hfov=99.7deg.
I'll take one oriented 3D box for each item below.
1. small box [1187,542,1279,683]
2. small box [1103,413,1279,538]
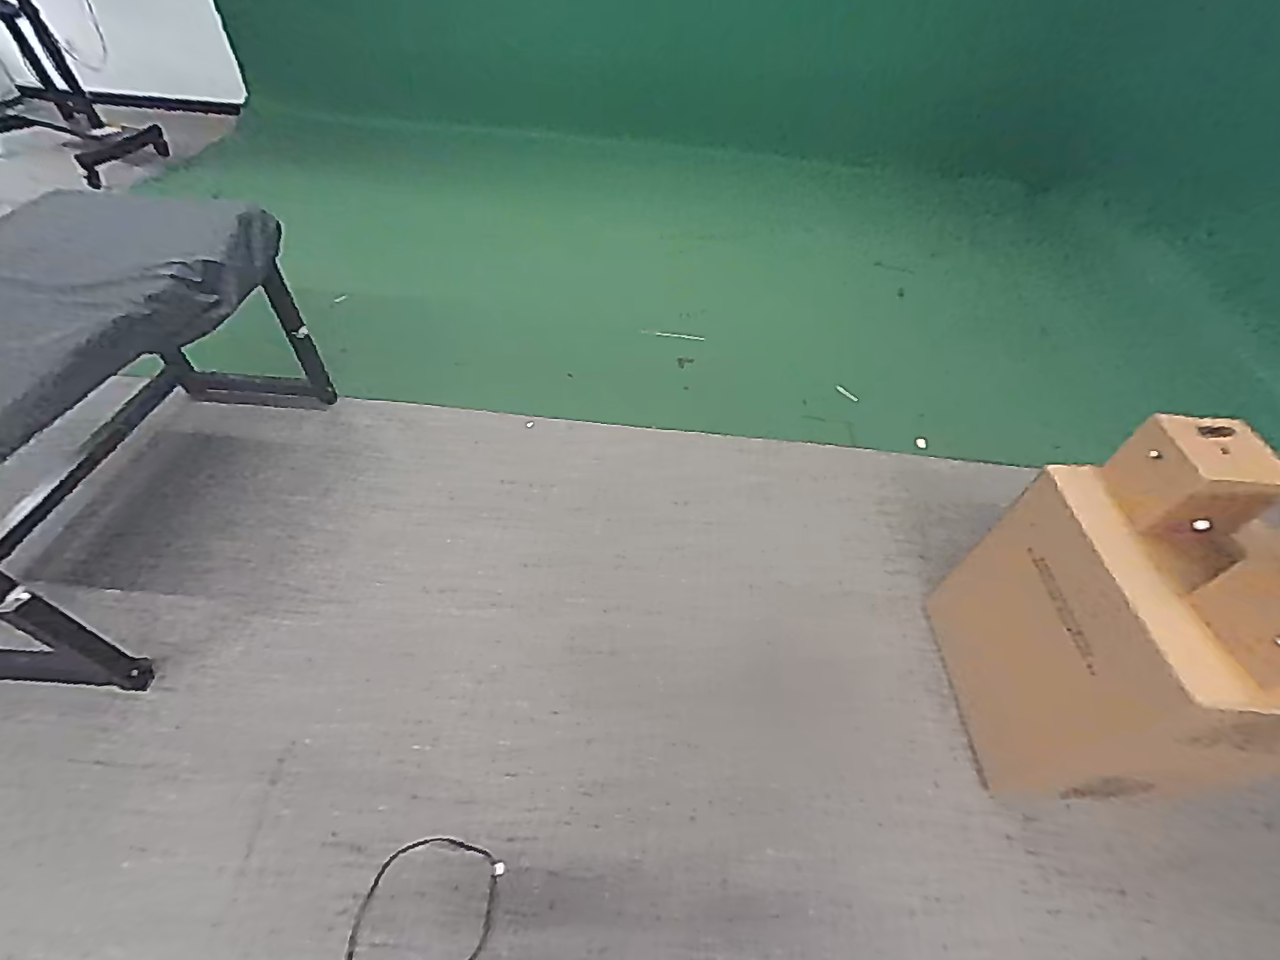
[{"bbox_3d":[1.075,0.216,0.873,0.168,0.176,0.179,-3,47,-5],"label":"small box"},{"bbox_3d":[1.083,-0.009,1.072,0.168,0.176,0.179,5,49,4],"label":"small box"}]
